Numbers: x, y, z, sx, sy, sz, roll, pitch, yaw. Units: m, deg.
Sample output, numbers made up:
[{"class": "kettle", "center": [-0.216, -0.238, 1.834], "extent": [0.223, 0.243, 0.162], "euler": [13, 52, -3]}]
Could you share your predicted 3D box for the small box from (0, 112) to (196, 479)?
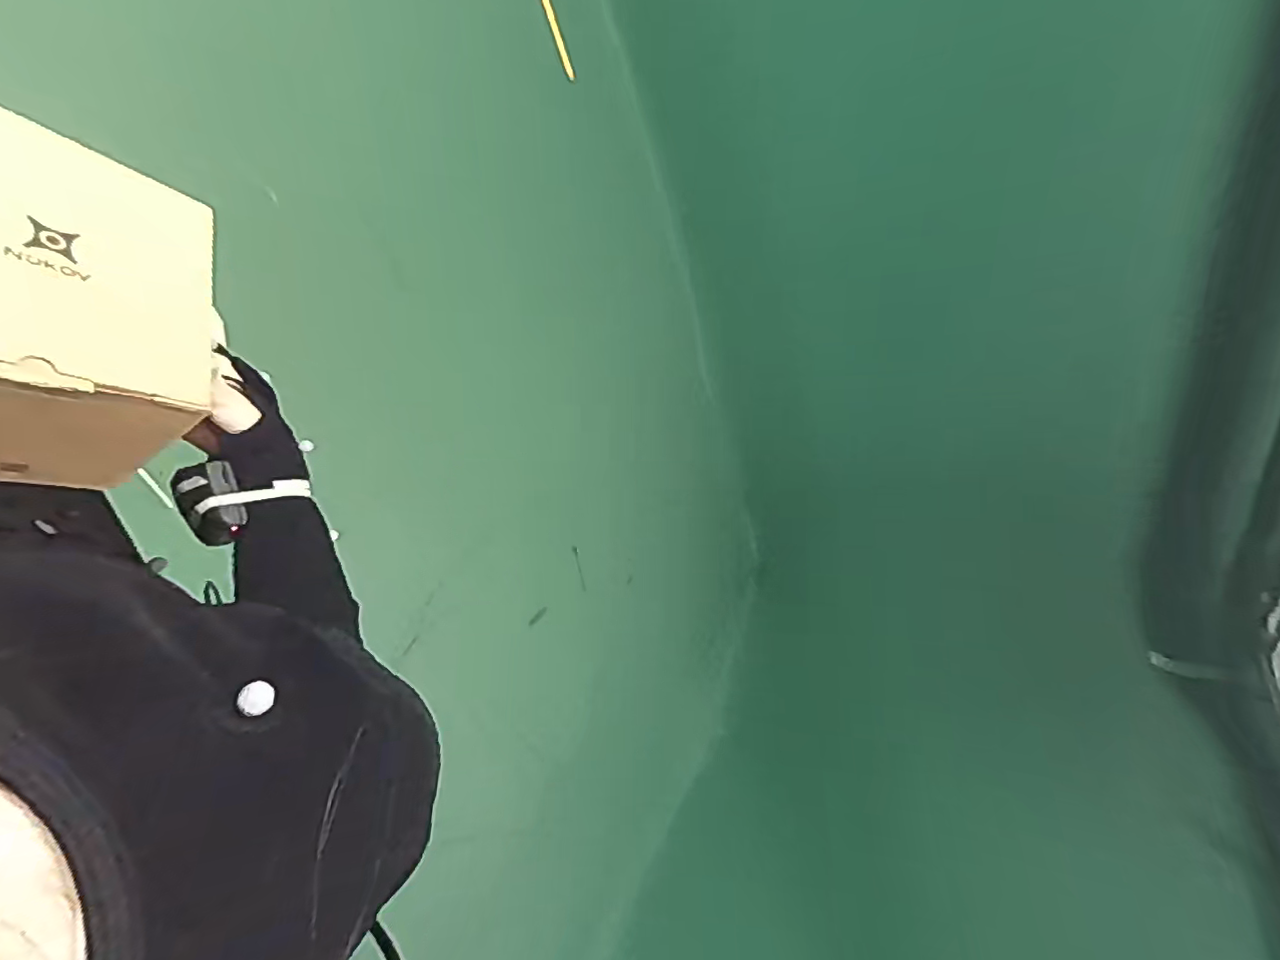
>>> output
[{"class": "small box", "center": [-0.430, -0.116, 0.354], "extent": [0.168, 0.176, 0.179], "euler": [14, 60, -61]}]
